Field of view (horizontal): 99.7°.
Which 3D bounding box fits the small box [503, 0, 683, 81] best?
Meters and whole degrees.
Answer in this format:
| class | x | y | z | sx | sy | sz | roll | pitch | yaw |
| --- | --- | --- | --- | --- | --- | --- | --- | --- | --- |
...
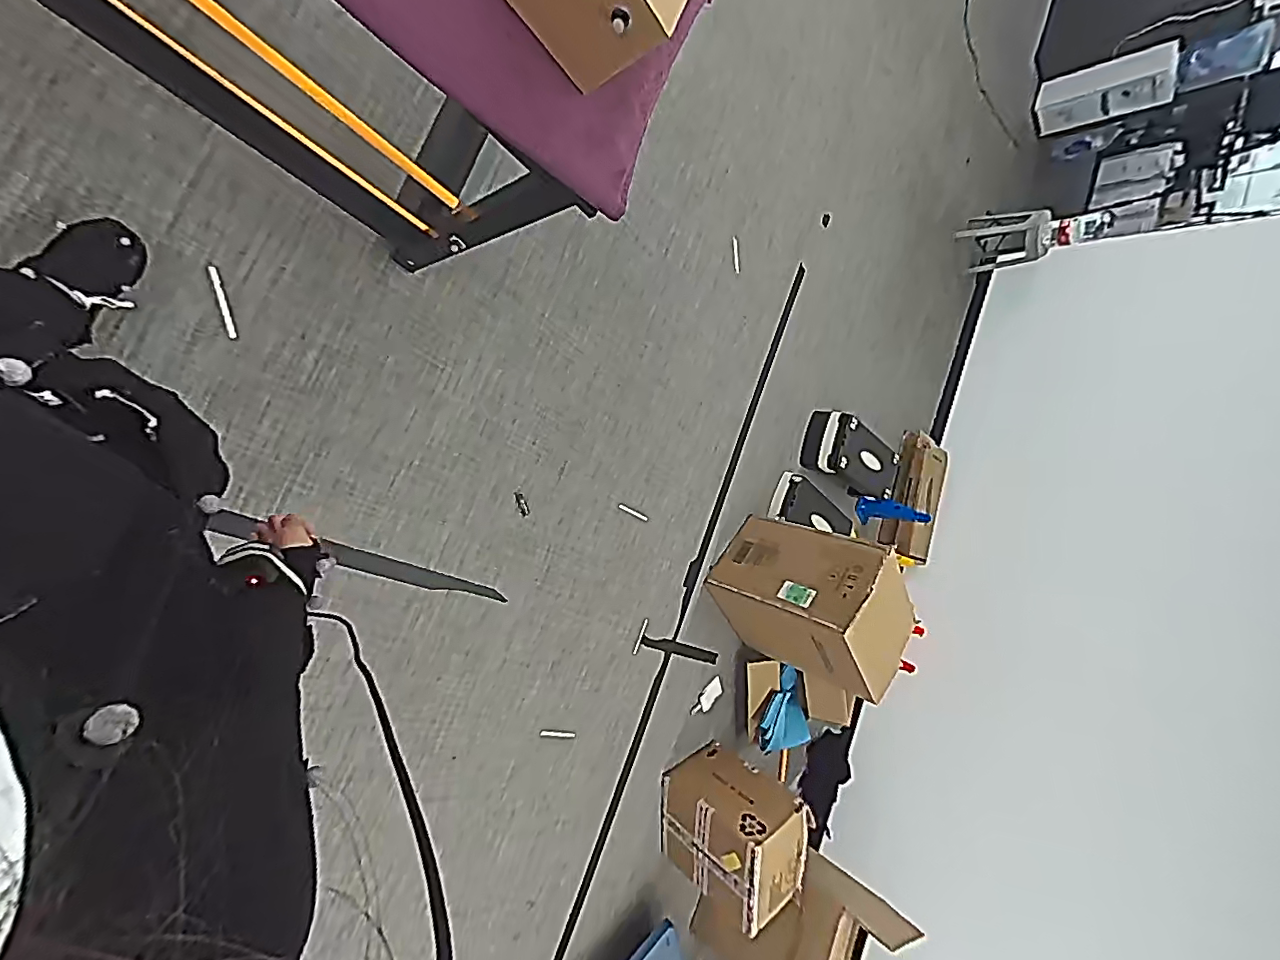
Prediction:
| class | x | y | z | sx | sy | sz | roll | pitch | yaw |
| --- | --- | --- | --- | --- | --- | --- | --- | --- | --- |
| small box | -0.054 | -0.629 | 0.651 | 0.179 | 0.176 | 0.168 | 32 | 74 | -42 |
